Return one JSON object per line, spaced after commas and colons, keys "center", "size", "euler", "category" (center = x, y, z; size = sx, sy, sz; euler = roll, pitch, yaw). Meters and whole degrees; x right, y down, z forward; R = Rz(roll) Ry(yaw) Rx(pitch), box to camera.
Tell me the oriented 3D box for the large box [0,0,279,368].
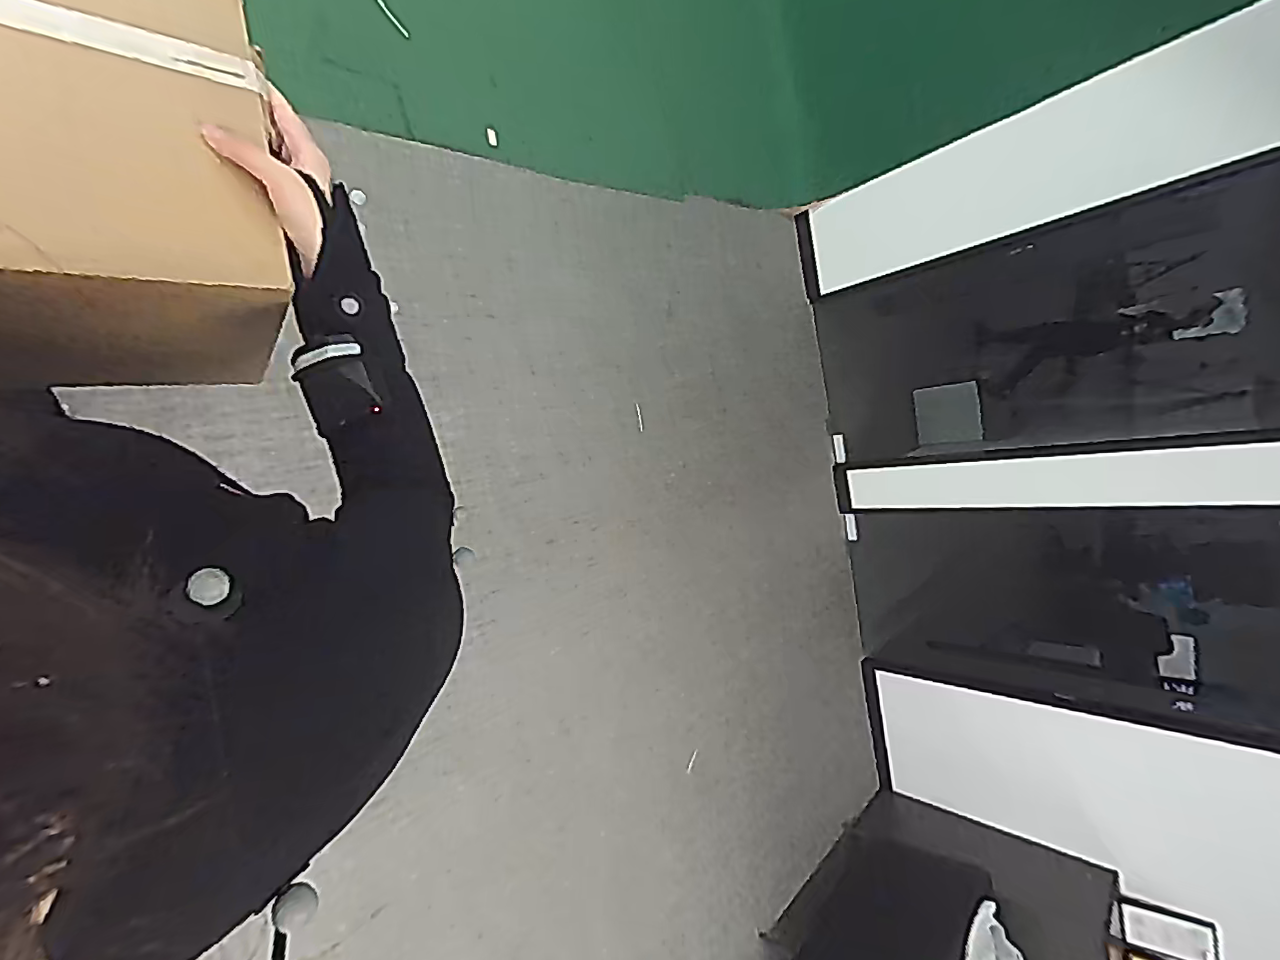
{"center": [-0.543, -0.266, 0.406], "size": [0.408, 0.320, 0.320], "euler": [-10, 92, -38], "category": "large box"}
